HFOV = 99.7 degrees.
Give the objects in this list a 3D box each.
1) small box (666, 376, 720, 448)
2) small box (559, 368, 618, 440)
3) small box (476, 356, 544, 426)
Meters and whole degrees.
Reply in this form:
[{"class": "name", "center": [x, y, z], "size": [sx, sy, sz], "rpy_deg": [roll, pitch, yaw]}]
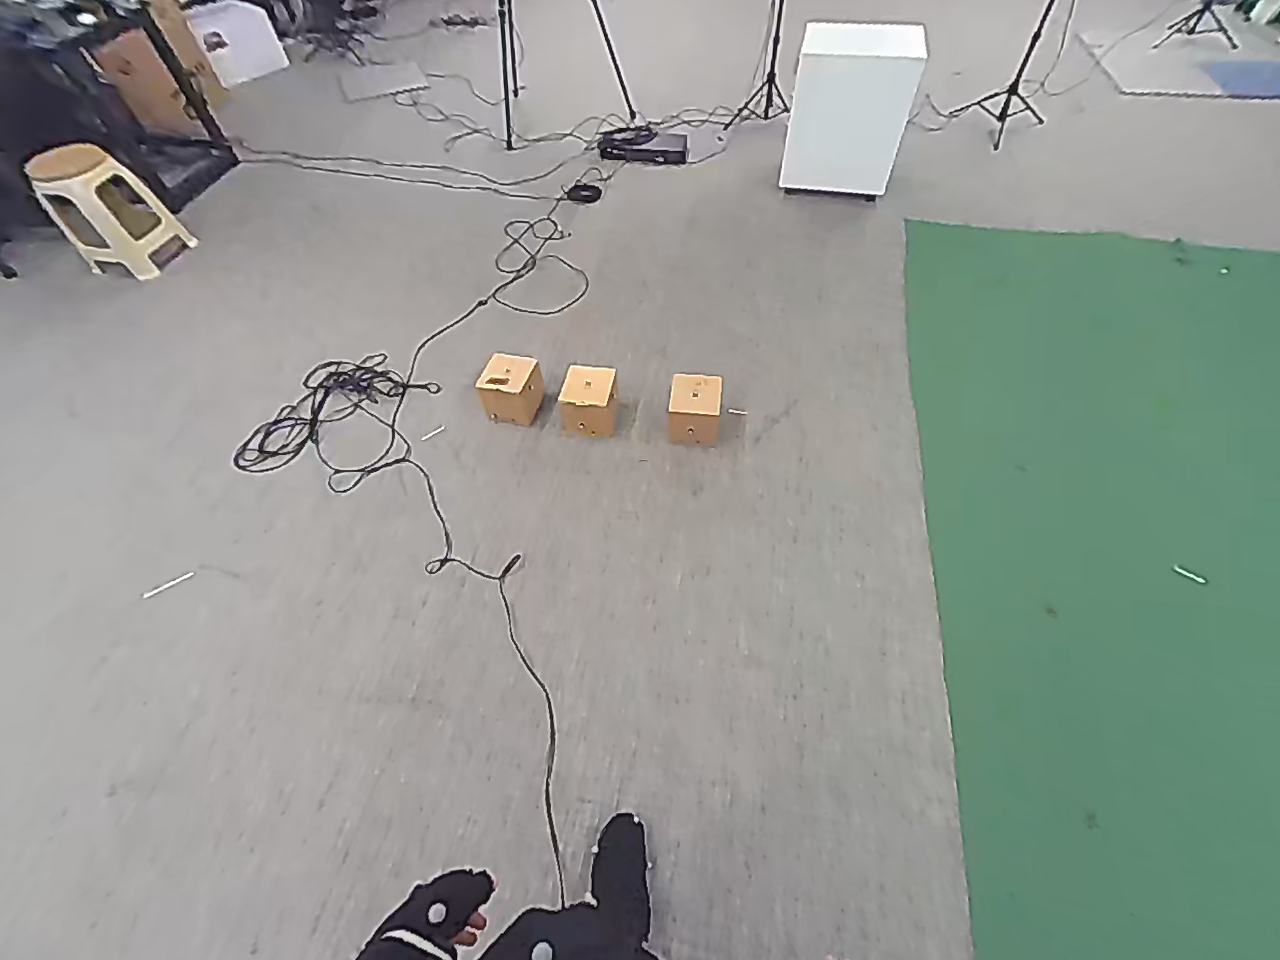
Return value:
[{"class": "small box", "center": [0.181, -0.228, 1.844], "size": [0.168, 0.176, 0.179], "rpy_deg": [6, 55, 6]}, {"class": "small box", "center": [-0.175, -0.265, 1.888], "size": [0.168, 0.176, 0.179], "rpy_deg": [6, 56, 7]}, {"class": "small box", "center": [-0.457, -0.315, 1.935], "size": [0.168, 0.176, 0.179], "rpy_deg": [11, 55, 10]}]
